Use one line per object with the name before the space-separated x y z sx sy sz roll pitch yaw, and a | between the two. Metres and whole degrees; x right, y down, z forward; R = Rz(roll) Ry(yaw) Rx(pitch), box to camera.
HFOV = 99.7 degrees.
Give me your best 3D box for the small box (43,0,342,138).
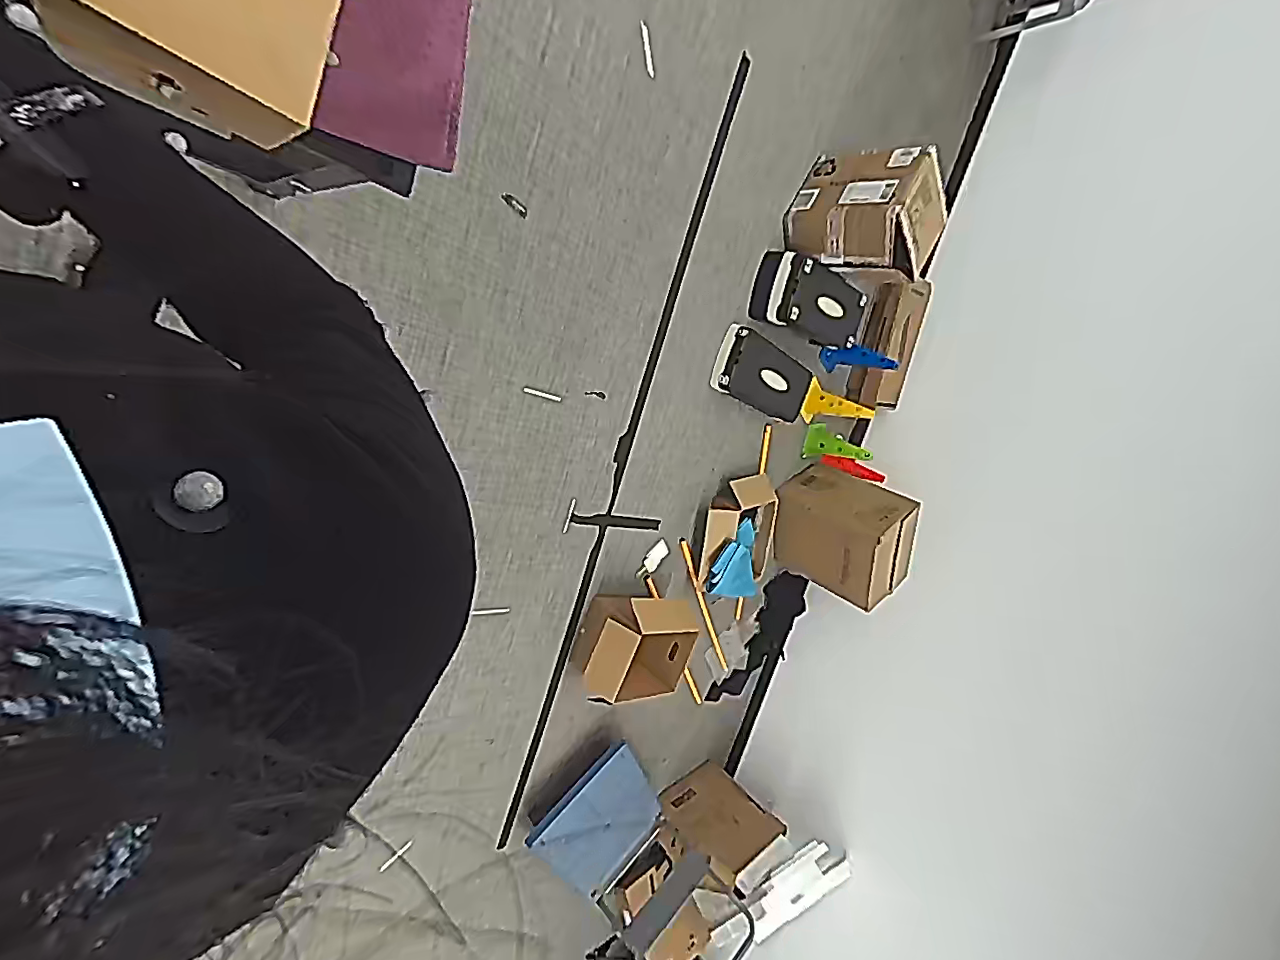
small box | -0.363 -0.420 0.448 0.168 0.176 0.179 13 98 -47
